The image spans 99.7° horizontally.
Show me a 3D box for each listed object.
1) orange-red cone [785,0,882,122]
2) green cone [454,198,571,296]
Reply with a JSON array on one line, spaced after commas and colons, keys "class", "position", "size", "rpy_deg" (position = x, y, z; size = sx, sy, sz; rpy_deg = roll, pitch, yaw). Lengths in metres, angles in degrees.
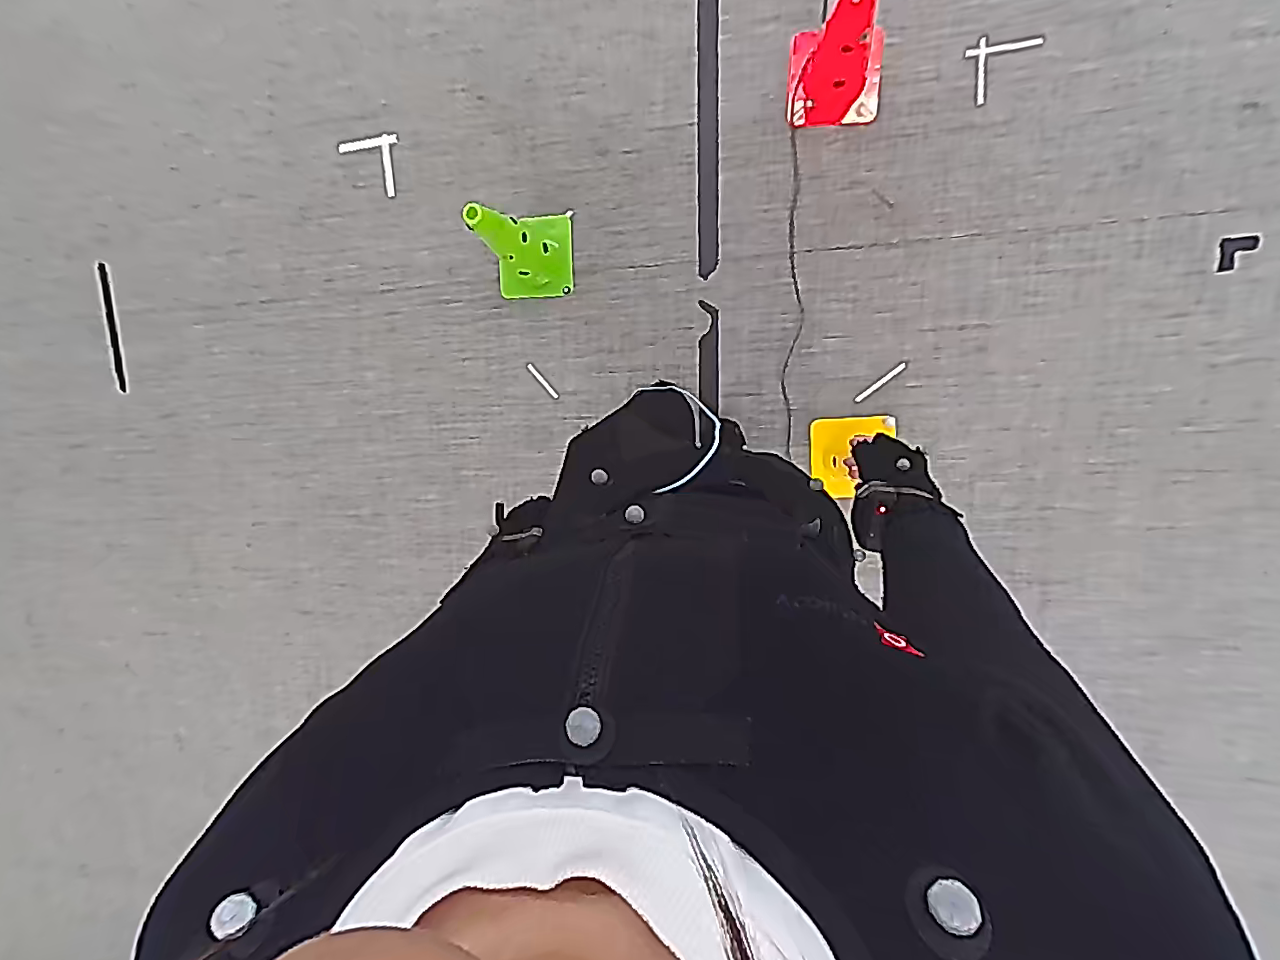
[{"class": "orange-red cone", "position": [0.413, -0.899, 1.067], "size": [0.199, 0.360, 0.198], "rpy_deg": [4, 100, 8]}, {"class": "green cone", "position": [-0.310, -0.564, 1.236], "size": [0.202, 0.368, 0.200], "rpy_deg": [0, 98, 11]}]
